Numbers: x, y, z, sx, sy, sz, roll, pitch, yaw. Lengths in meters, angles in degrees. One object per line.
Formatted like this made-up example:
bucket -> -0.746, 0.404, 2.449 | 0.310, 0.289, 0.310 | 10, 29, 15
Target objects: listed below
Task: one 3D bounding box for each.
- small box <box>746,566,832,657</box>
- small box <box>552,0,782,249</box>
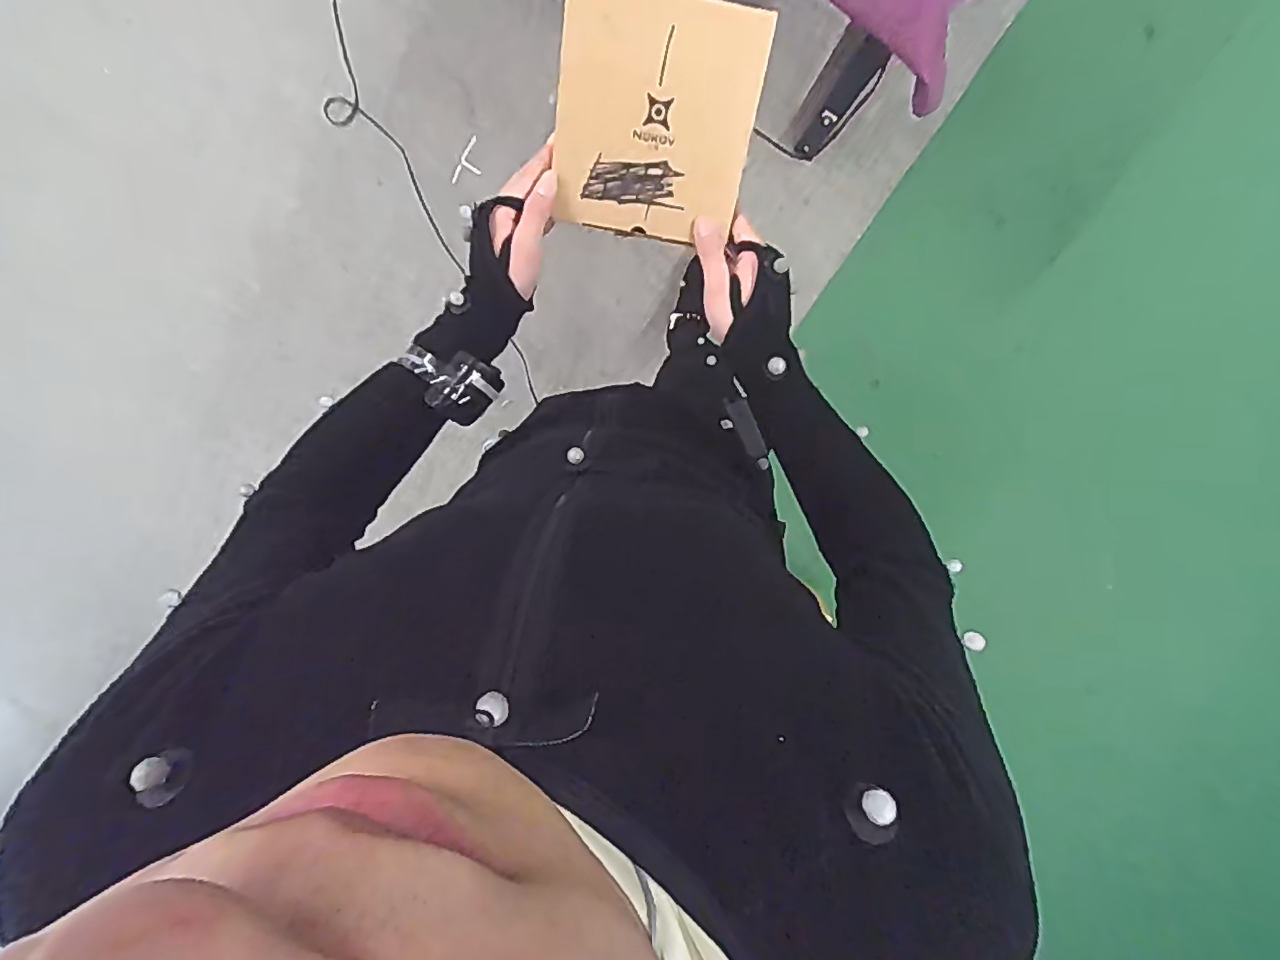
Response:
small box -> 0.443, 0.390, 1.635 | 0.179, 0.176, 0.168 | 34, 105, -6
small box -> 0.014, -0.335, 0.516 | 0.168, 0.176, 0.179 | 7, 118, -7
